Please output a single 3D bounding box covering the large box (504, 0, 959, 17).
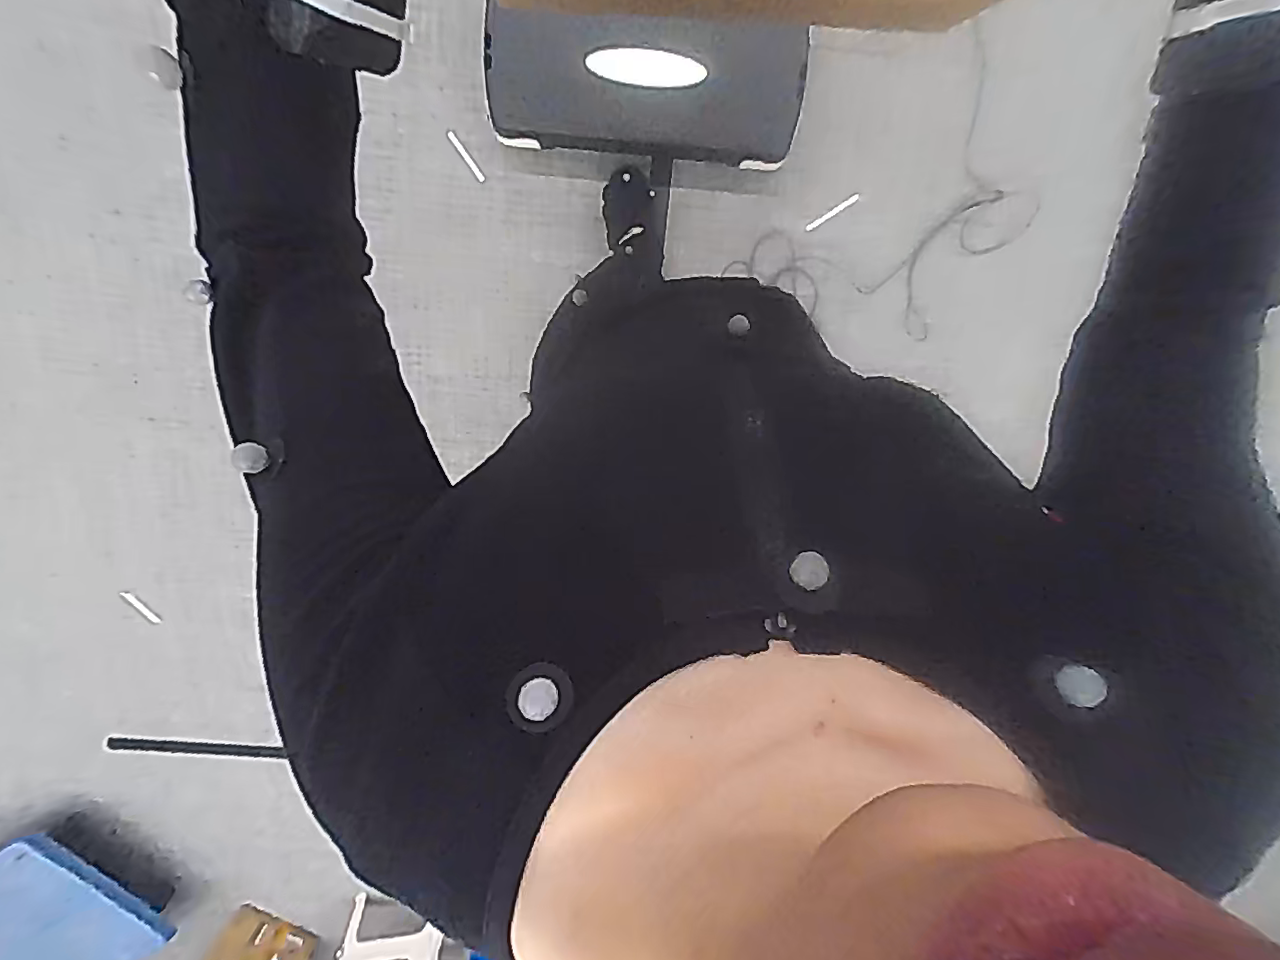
[{"bbox_3d":[0.082,-0.493,0.286,0.408,0.320,0.320,0,116,-3],"label":"large box"}]
